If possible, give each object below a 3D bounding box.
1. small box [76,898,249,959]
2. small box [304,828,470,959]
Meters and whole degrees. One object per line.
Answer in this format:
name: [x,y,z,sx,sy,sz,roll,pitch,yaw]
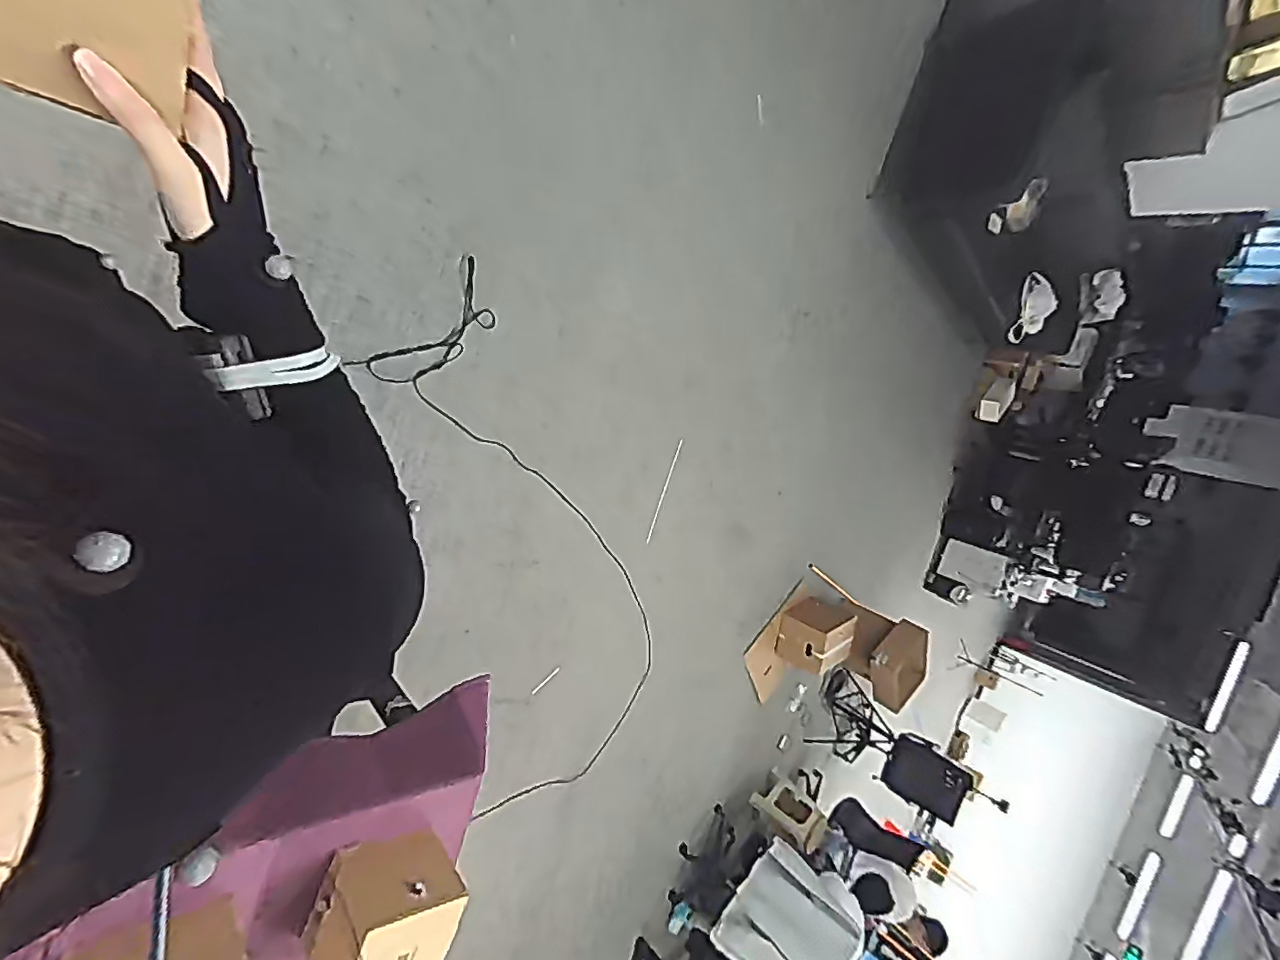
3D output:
small box: [-0.628,0.694,0.687,0.179,0.176,0.168,15,96,-47]
small box: [-0.425,0.726,0.906,0.179,0.176,0.168,21,90,-47]
